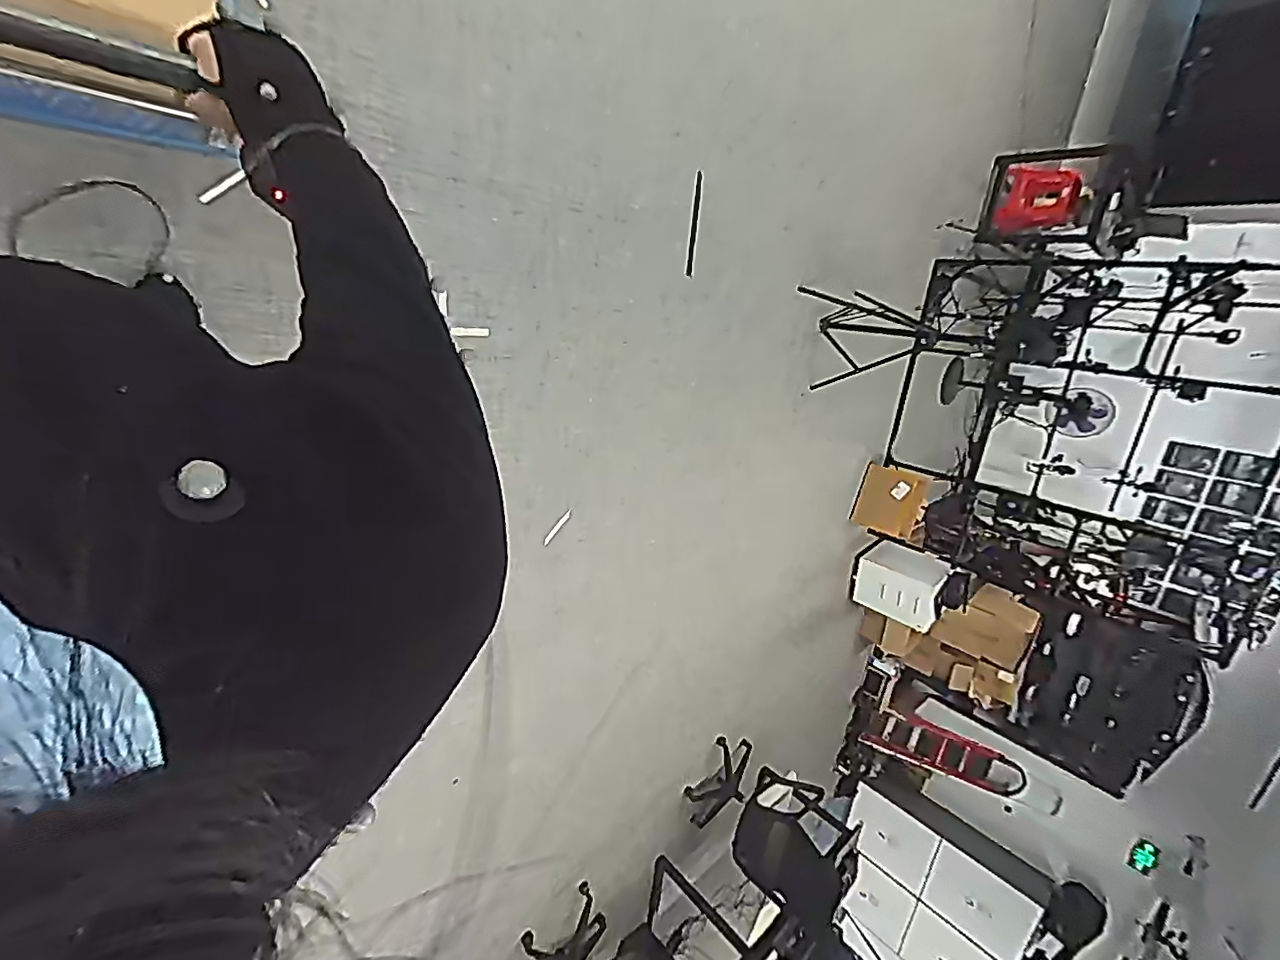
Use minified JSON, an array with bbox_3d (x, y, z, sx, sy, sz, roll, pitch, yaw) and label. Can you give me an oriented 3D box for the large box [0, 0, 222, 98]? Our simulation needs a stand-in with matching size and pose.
[{"bbox_3d":[-0.808,-0.725,0.658,0.408,0.320,0.320,-13,117,-44],"label":"large box"}]
